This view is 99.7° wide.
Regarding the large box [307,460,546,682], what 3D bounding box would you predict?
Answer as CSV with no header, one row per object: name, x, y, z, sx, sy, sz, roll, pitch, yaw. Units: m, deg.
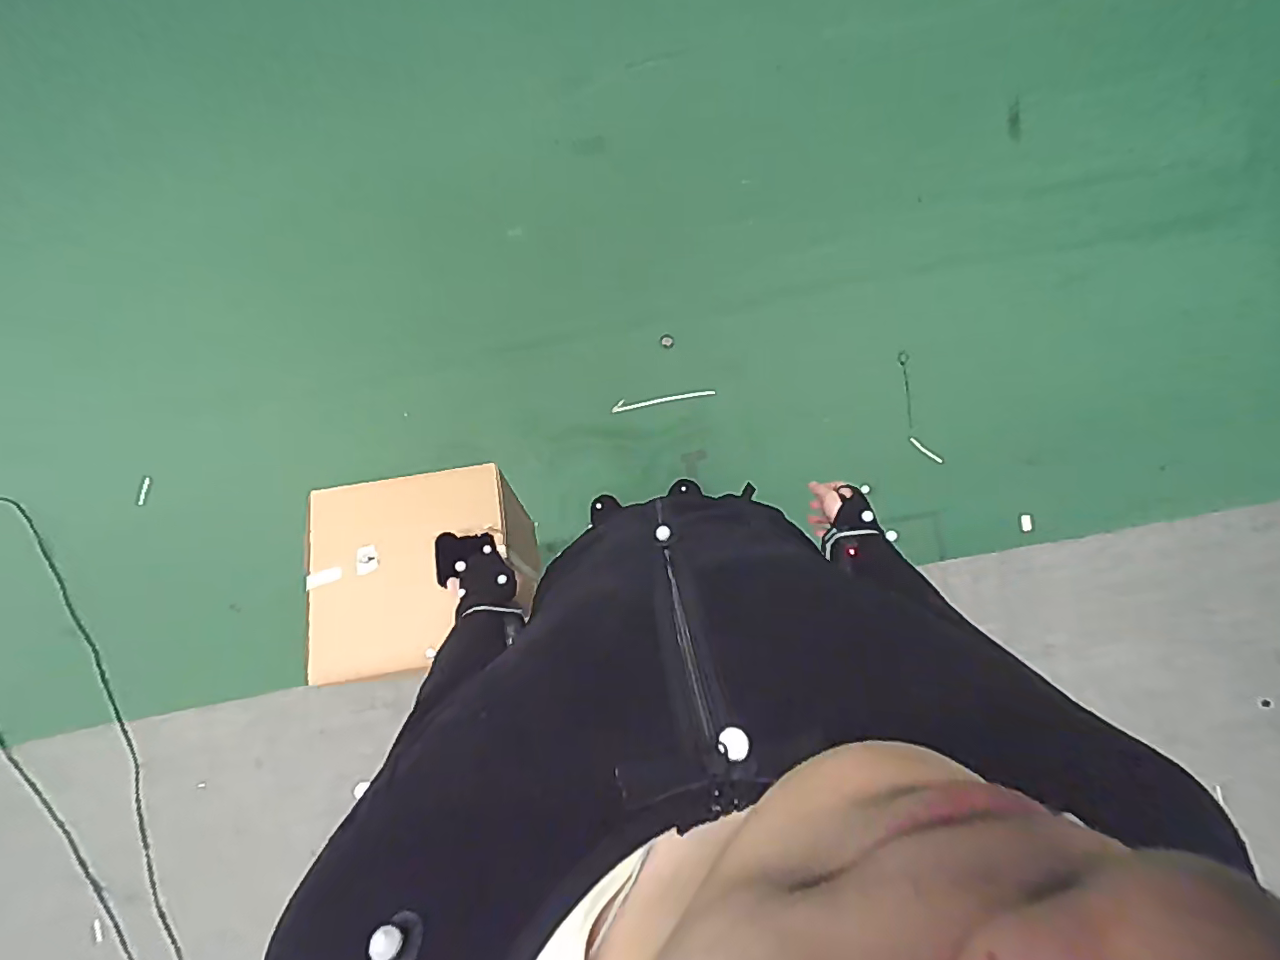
large box,-0.380,0.191,1.045,0.320,0.408,0.320,-9,72,-5
